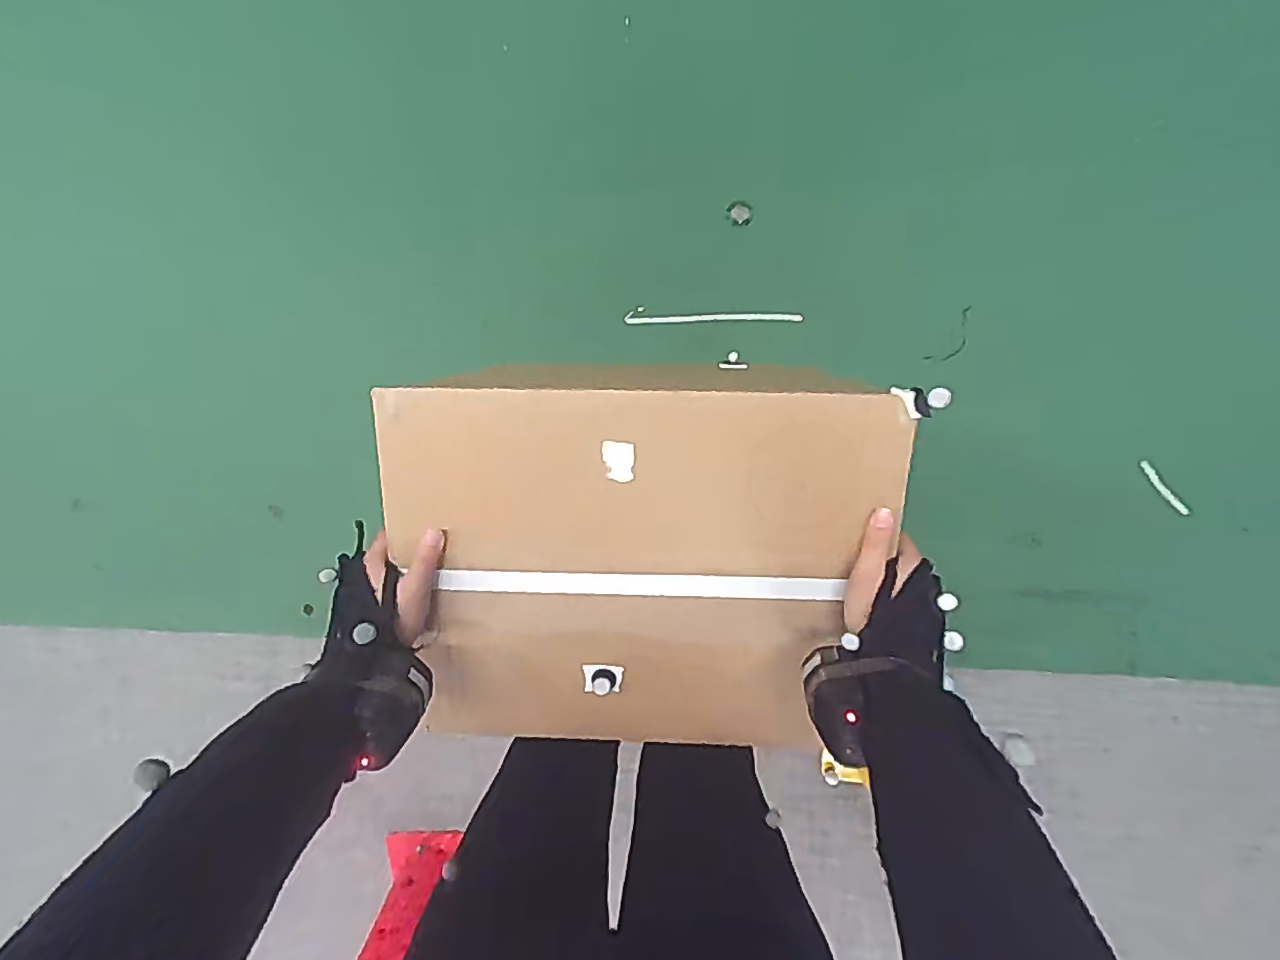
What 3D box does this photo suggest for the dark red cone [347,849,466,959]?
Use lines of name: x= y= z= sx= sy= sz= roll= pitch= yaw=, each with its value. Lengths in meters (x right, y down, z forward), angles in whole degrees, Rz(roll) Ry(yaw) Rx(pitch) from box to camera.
dark red cone: x=-0.501 y=0.908 z=1.009 sx=0.202 sy=0.394 sz=0.201 roll=-7 pitch=93 yaw=9
